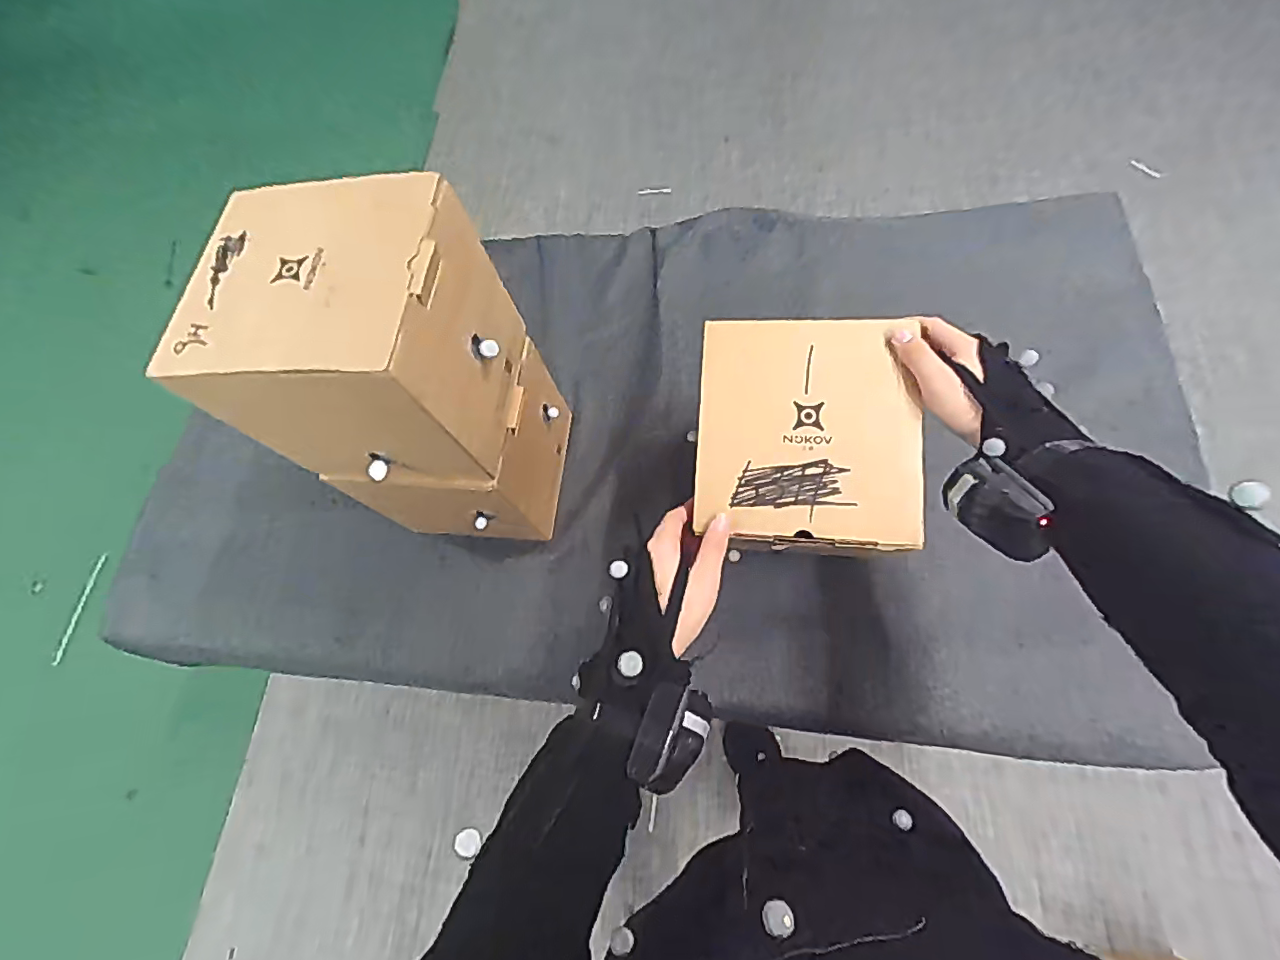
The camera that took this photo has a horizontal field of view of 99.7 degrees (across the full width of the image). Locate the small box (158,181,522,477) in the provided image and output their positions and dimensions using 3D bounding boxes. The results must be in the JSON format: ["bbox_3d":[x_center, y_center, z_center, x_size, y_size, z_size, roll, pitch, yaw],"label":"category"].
[{"bbox_3d":[-0.212,-0.109,0.441,0.179,0.176,0.168,1,67,9],"label":"small box"}]

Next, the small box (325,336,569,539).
[{"bbox_3d":[-0.188,-0.039,0.588,0.179,0.176,0.168,2,67,10],"label":"small box"}]

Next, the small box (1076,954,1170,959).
[{"bbox_3d":[0.831,0.876,0.841,0.179,0.176,0.168,-4,66,8],"label":"small box"}]
